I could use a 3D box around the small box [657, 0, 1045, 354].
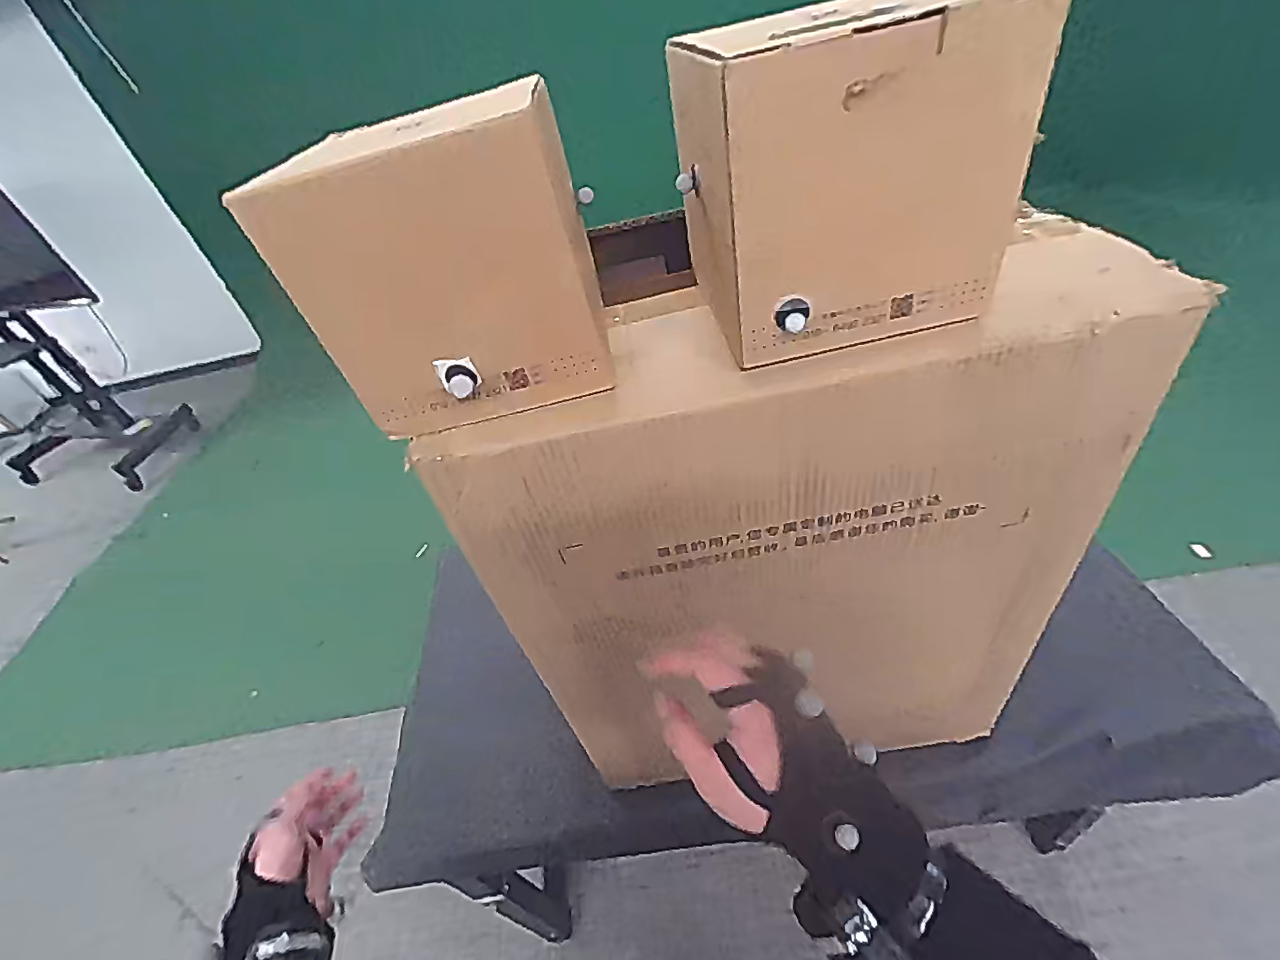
[{"bbox_3d":[0.116,-0.200,0.365,0.168,0.176,0.179,-13,40,2],"label":"small box"}]

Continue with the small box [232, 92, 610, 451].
[{"bbox_3d":[-0.125,-0.149,0.389,0.168,0.176,0.179,-15,42,4],"label":"small box"}]
